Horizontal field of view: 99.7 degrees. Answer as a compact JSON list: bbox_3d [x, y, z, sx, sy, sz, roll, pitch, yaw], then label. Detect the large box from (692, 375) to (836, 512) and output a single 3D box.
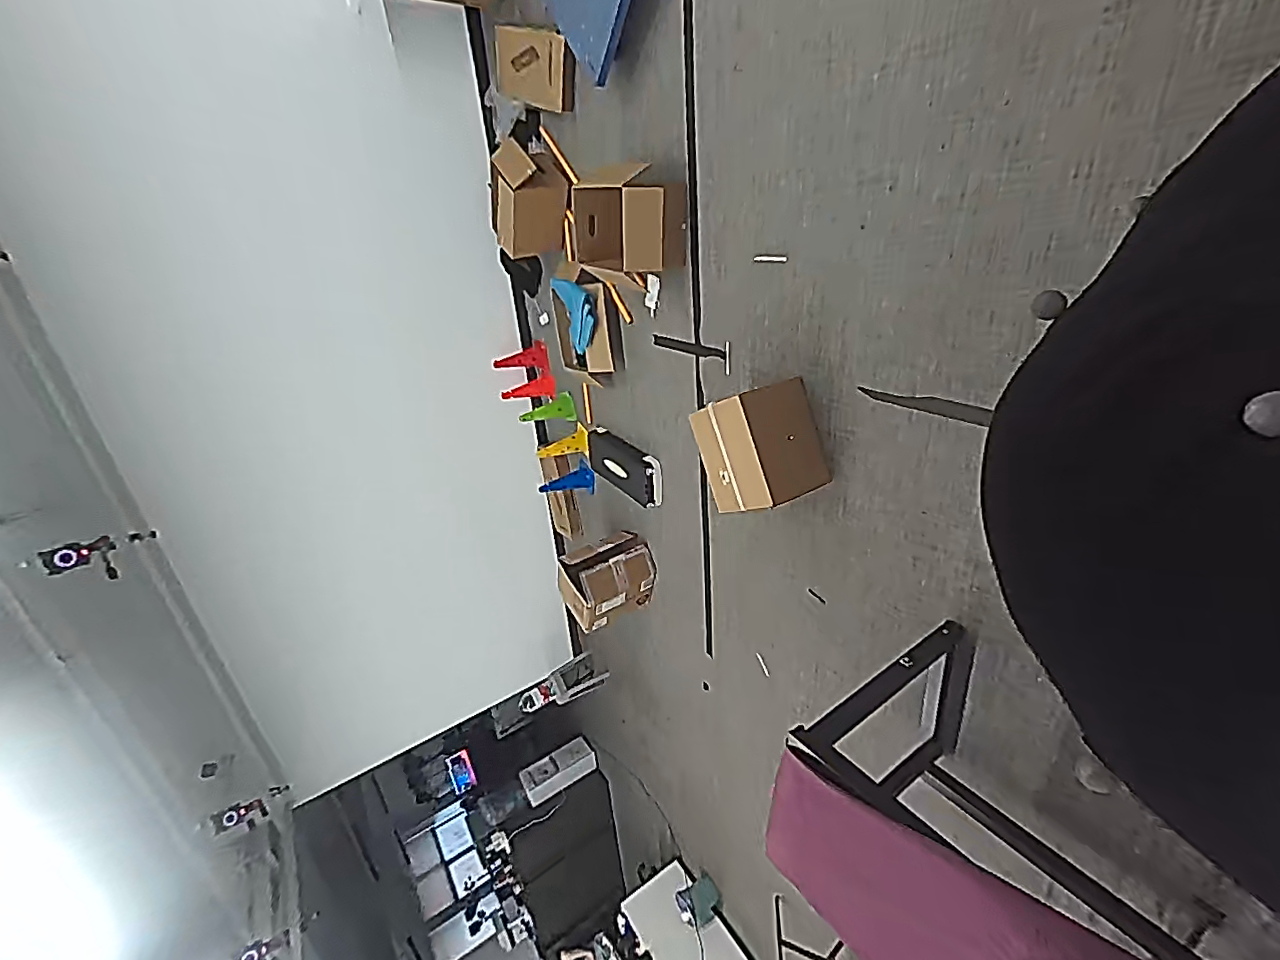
[{"bbox_3d":[0.455,-0.129,2.000,0.320,0.320,0.408,-15,95,63],"label":"large box"}]
